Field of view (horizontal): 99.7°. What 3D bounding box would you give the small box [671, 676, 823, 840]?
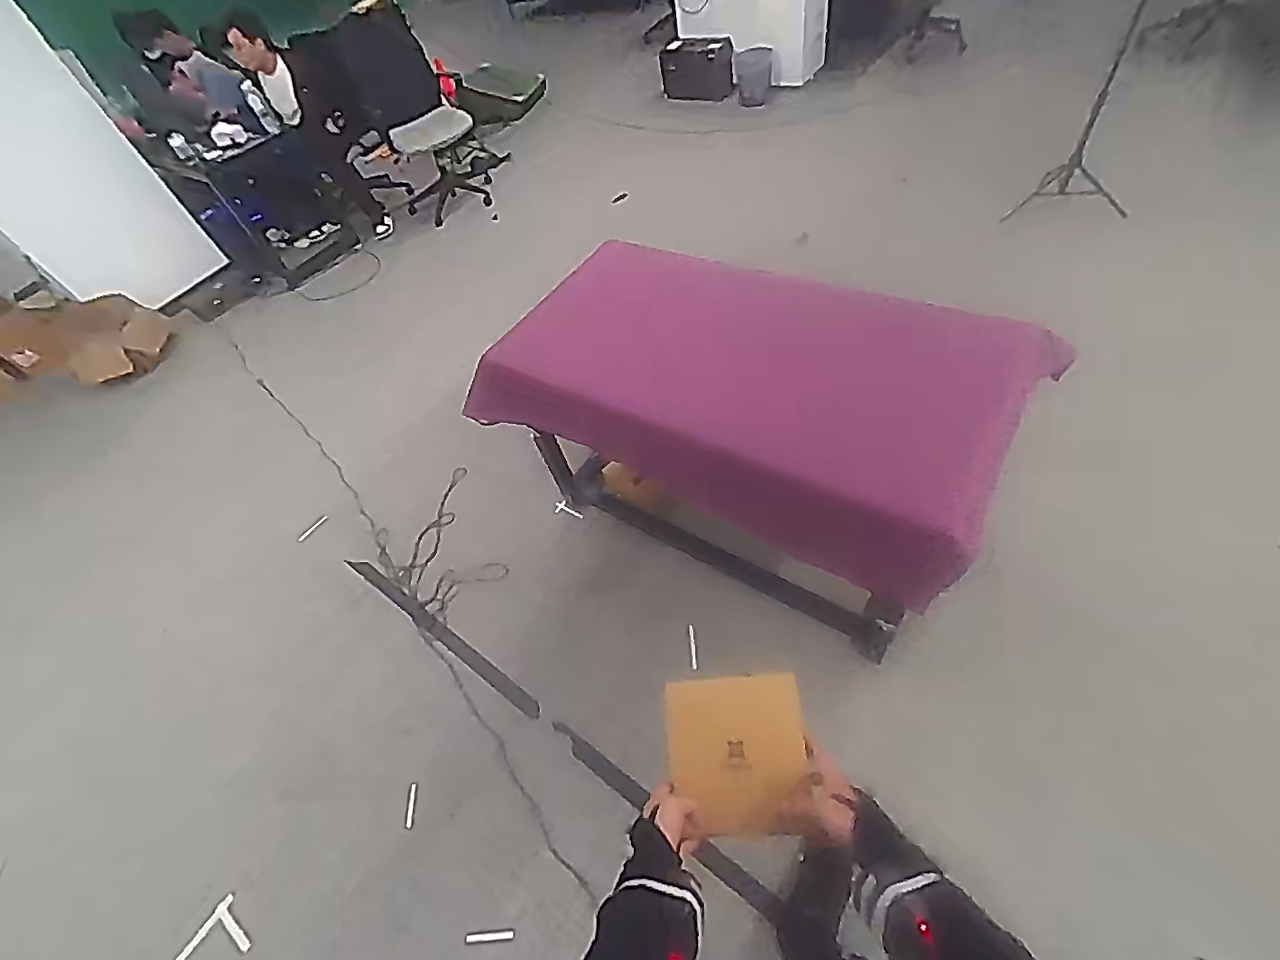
[{"bbox_3d":[0.143,0.362,0.729,0.168,0.176,0.179,-9,69,13],"label":"small box"}]
